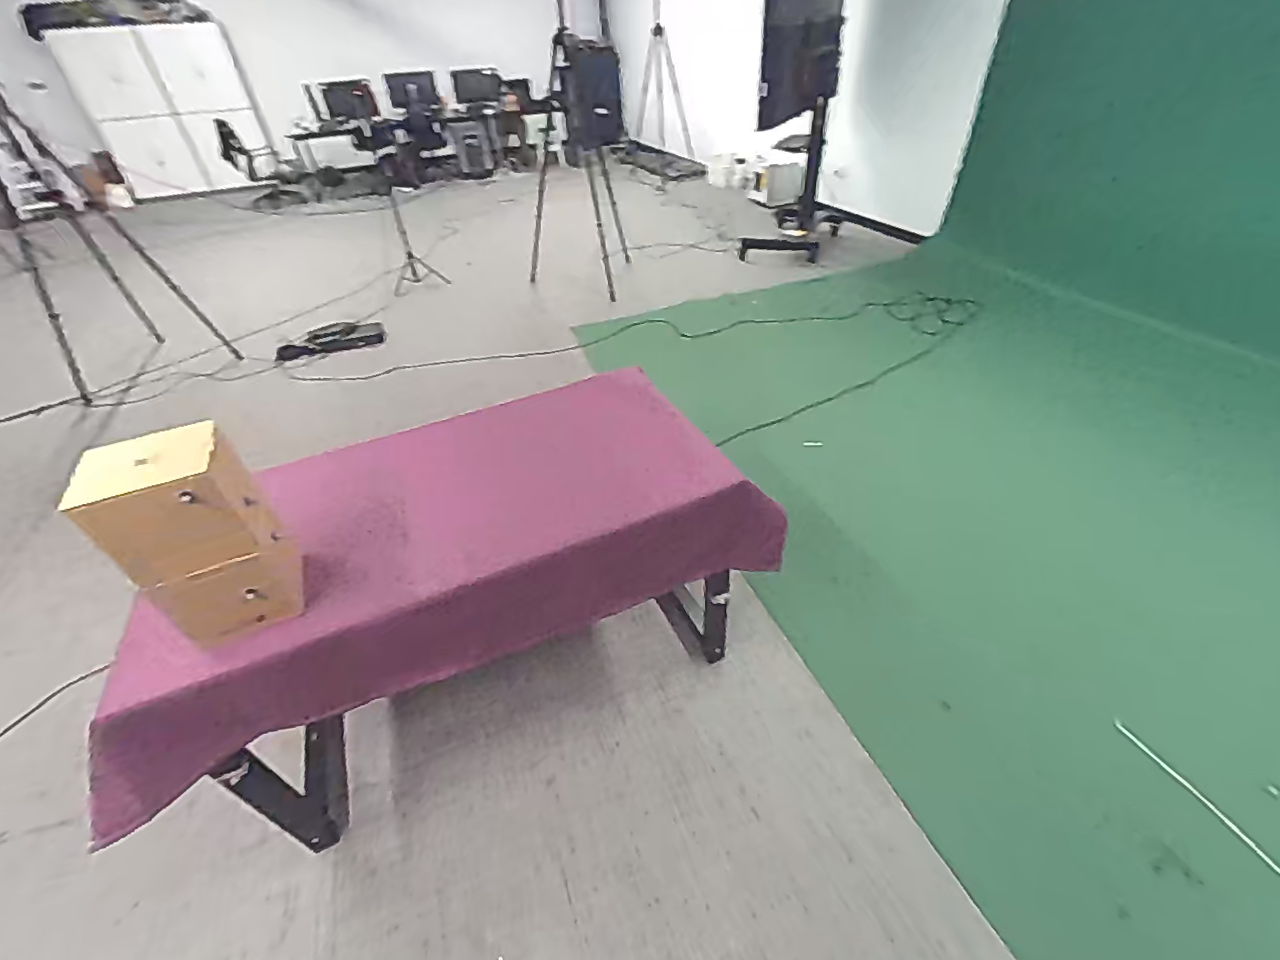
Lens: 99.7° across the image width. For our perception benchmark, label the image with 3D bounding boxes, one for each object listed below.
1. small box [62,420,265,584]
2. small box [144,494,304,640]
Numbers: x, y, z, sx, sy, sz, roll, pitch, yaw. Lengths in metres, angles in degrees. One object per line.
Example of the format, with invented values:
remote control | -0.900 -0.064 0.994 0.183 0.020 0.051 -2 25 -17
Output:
small box | -0.734 0.035 0.859 0.179 0.176 0.168 -20 42 -21
small box | -0.722 0.159 0.963 0.168 0.176 0.179 -19 41 -19
